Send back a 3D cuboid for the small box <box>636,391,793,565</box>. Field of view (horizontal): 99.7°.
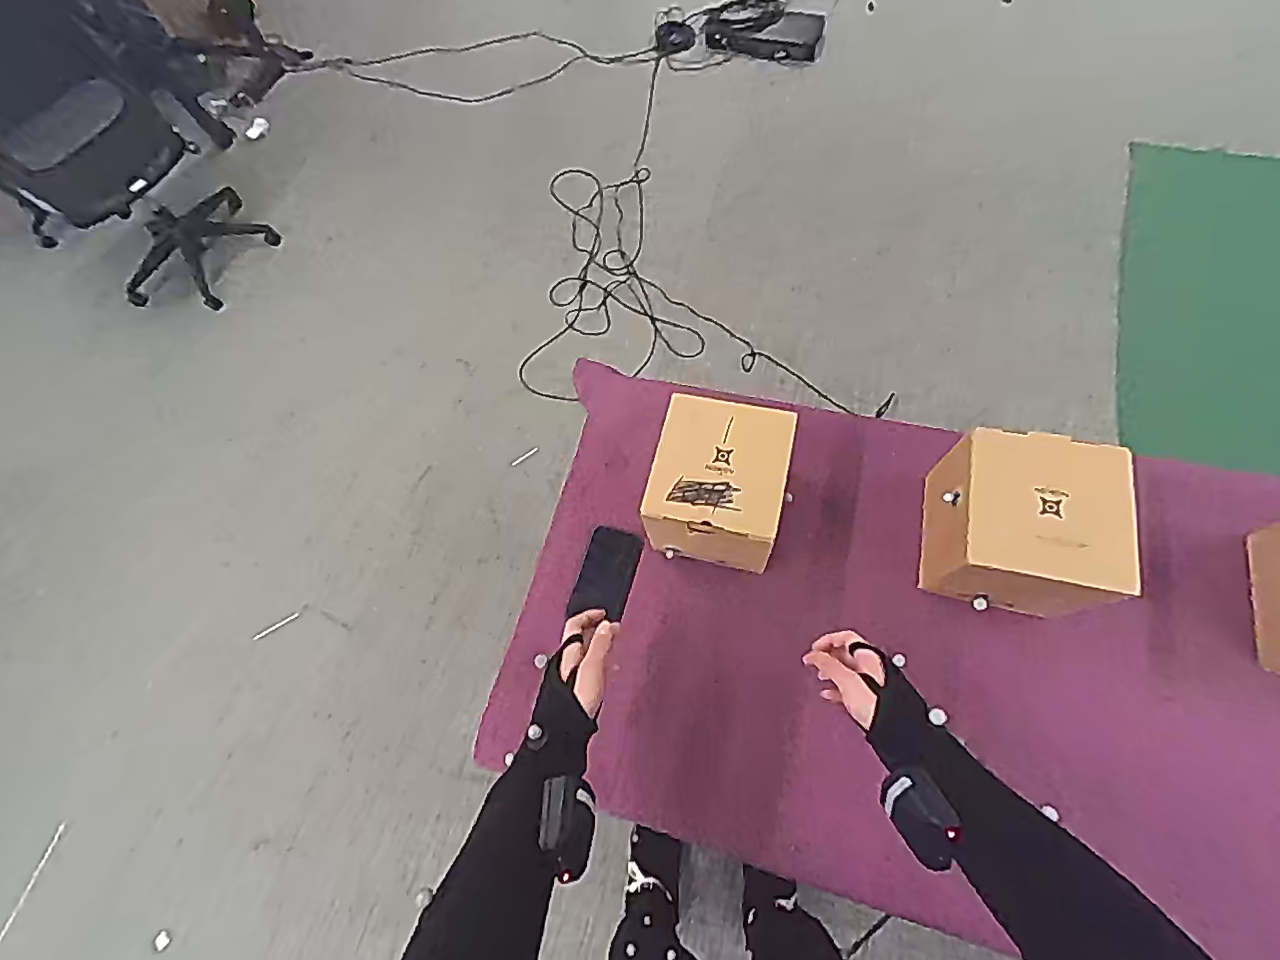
[{"bbox_3d":[0.105,0.005,0.740,0.168,0.176,0.179,11,69,12],"label":"small box"}]

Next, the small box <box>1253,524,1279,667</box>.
[{"bbox_3d":[0.832,0.127,0.583,0.168,0.176,0.179,13,70,14],"label":"small box"}]

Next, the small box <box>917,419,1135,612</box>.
[{"bbox_3d":[0.461,0.051,0.671,0.168,0.176,0.179,11,70,13],"label":"small box"}]
